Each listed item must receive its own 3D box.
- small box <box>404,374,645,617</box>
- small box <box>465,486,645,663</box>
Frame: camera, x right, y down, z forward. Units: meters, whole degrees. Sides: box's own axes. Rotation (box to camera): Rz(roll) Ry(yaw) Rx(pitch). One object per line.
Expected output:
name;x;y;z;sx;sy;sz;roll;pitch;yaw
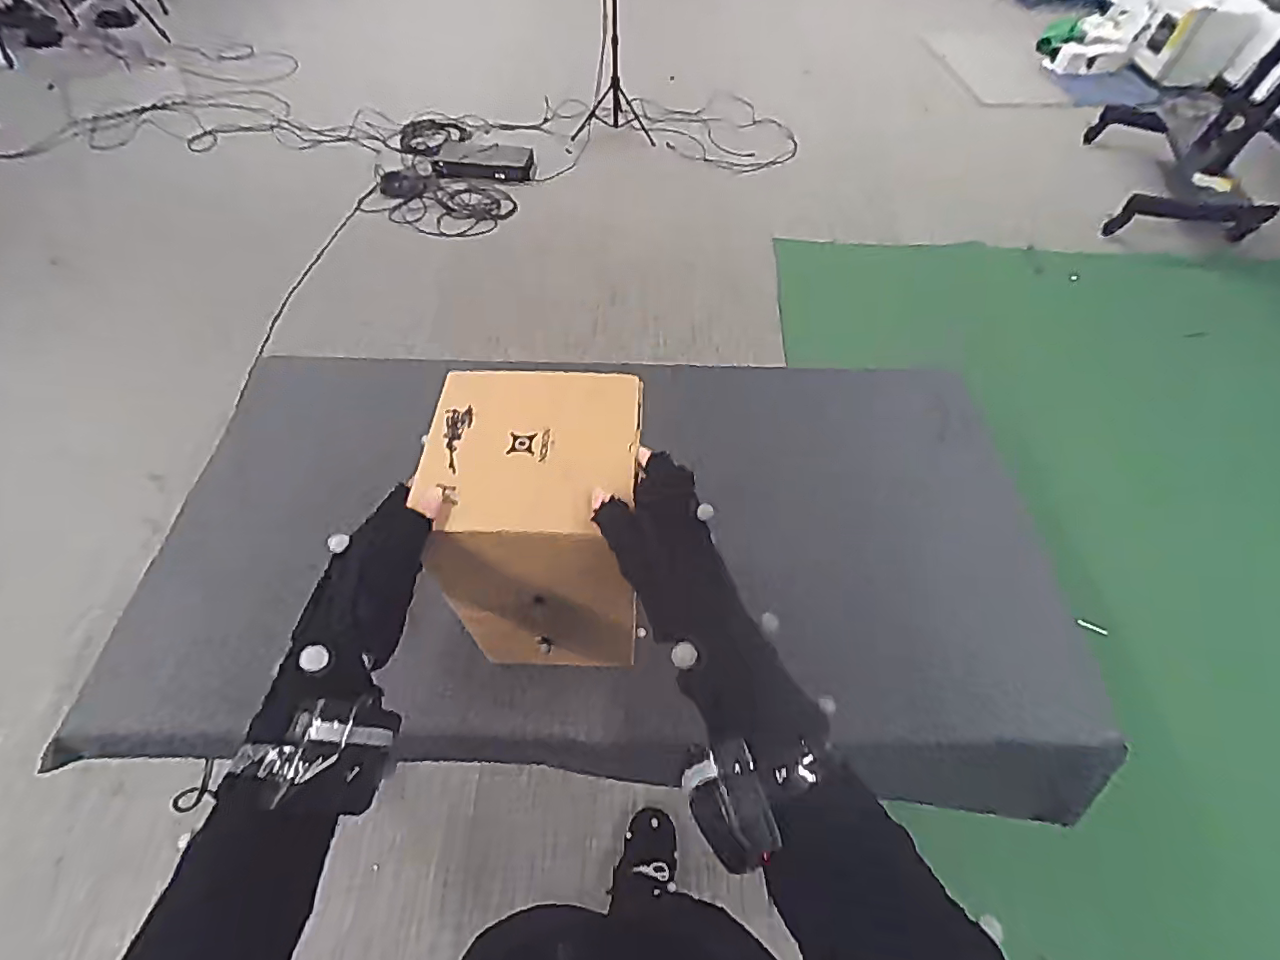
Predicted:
small box;-0.088;0.021;0.511;0.179;0.176;0.168;2;55;0
small box;-0.089;0.110;0.645;0.179;0.176;0.168;4;54;1
